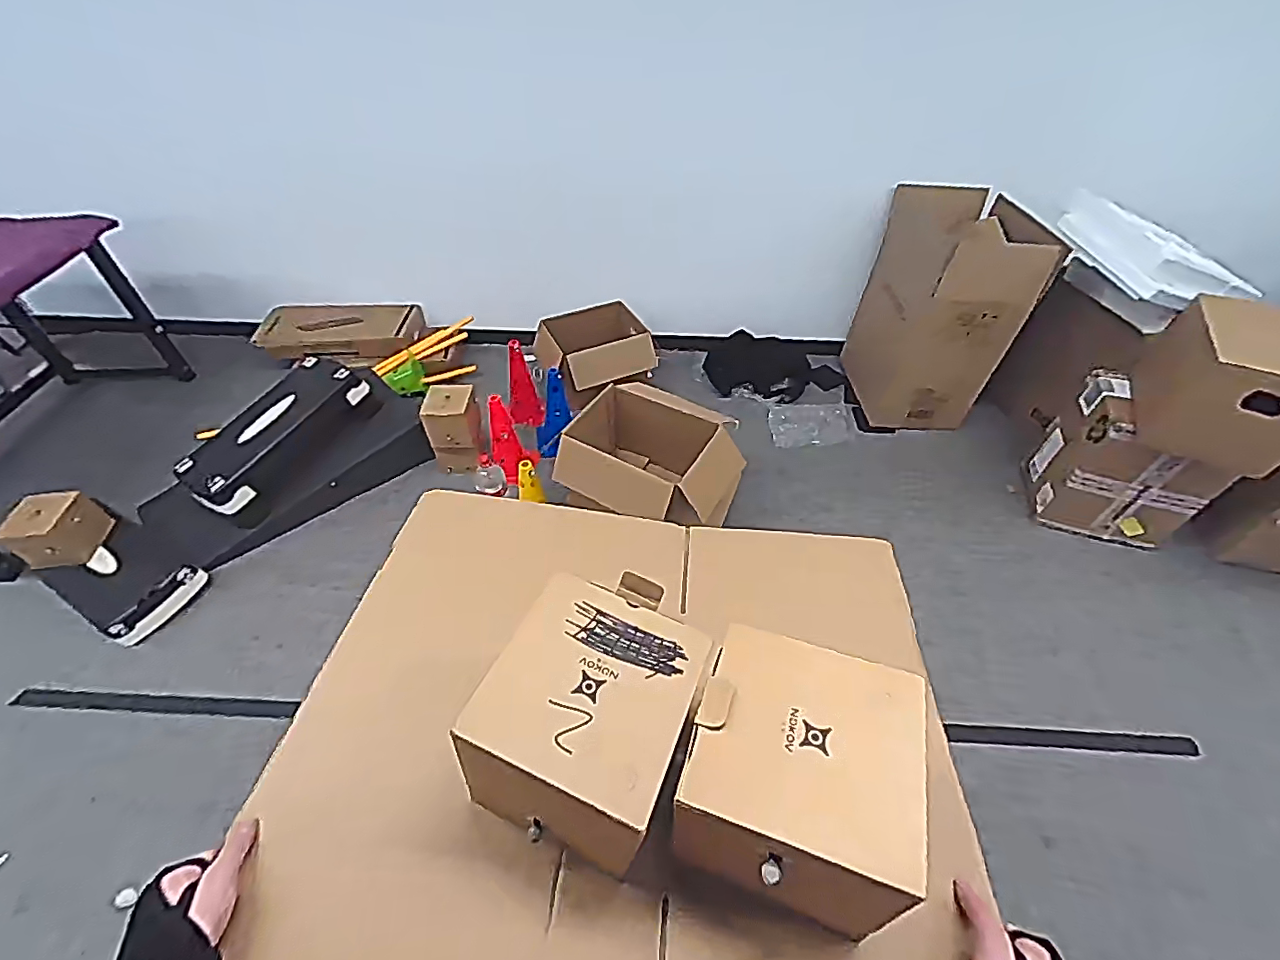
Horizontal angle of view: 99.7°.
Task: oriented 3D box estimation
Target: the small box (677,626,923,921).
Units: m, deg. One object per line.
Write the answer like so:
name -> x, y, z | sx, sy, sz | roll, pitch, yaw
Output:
small box -> 0.140, 0.269, 0.497 | 0.179, 0.176, 0.168 | 12, 45, 17
